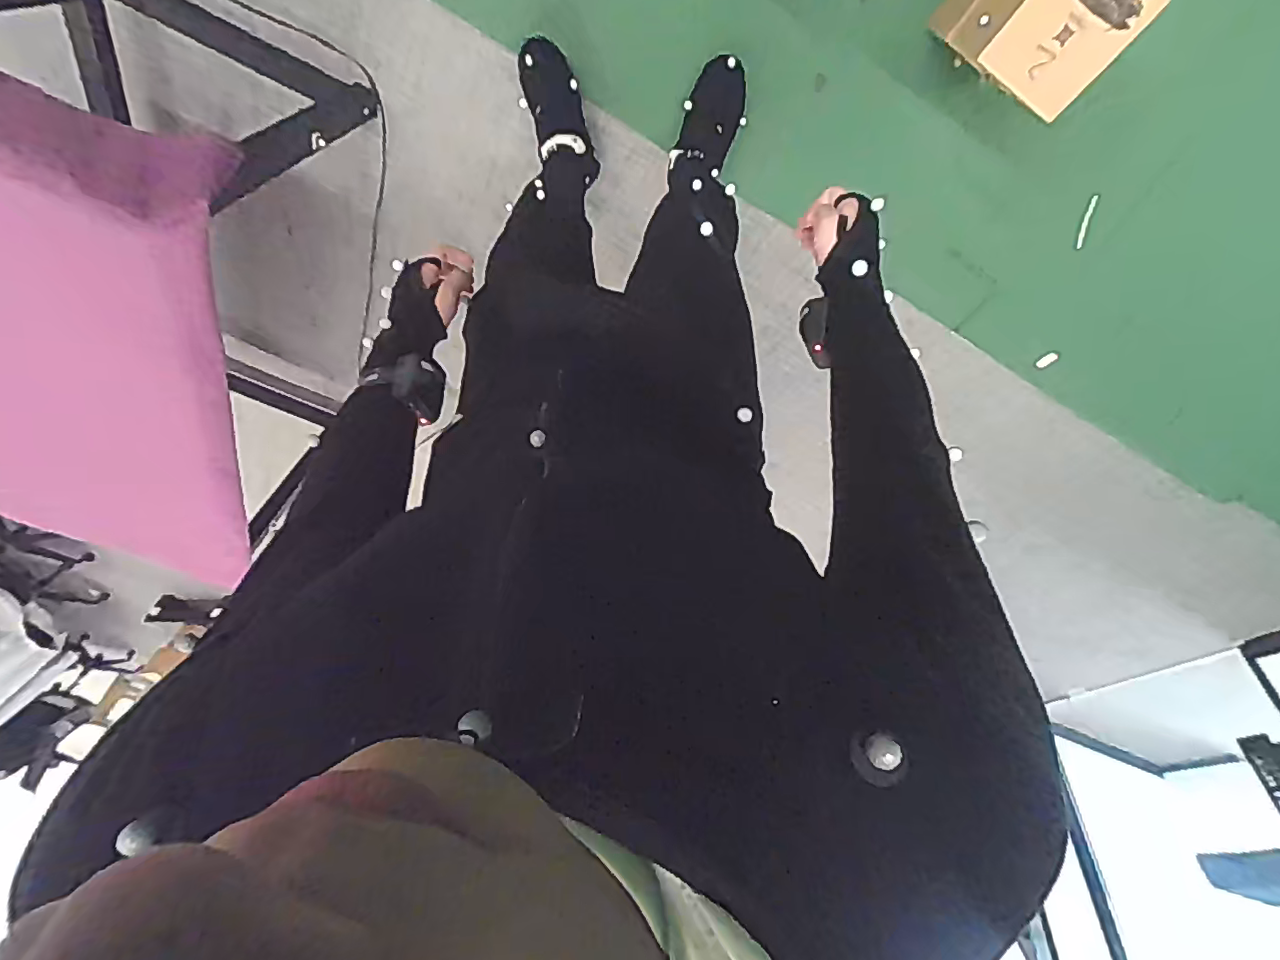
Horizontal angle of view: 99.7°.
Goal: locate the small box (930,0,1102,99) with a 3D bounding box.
[{"bbox_3d":[0.638,-0.815,0.932,0.168,0.176,0.179,26,136,-16],"label":"small box"}]
